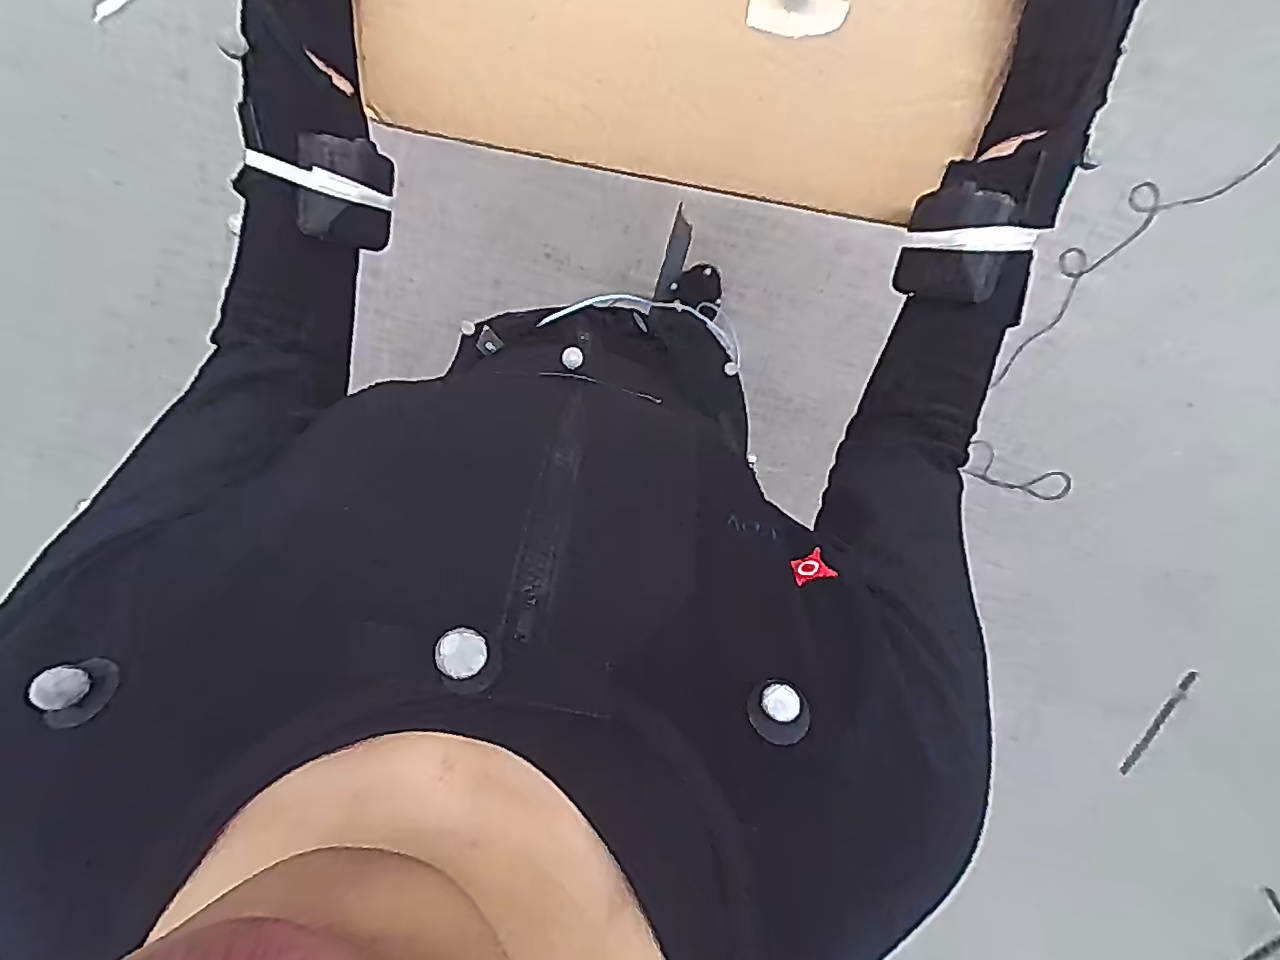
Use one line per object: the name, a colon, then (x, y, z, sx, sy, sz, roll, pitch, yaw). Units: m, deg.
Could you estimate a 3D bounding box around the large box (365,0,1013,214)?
large box: (0.041, -0.423, 0.430, 0.408, 0.320, 0.320, 10, 122, -2)
